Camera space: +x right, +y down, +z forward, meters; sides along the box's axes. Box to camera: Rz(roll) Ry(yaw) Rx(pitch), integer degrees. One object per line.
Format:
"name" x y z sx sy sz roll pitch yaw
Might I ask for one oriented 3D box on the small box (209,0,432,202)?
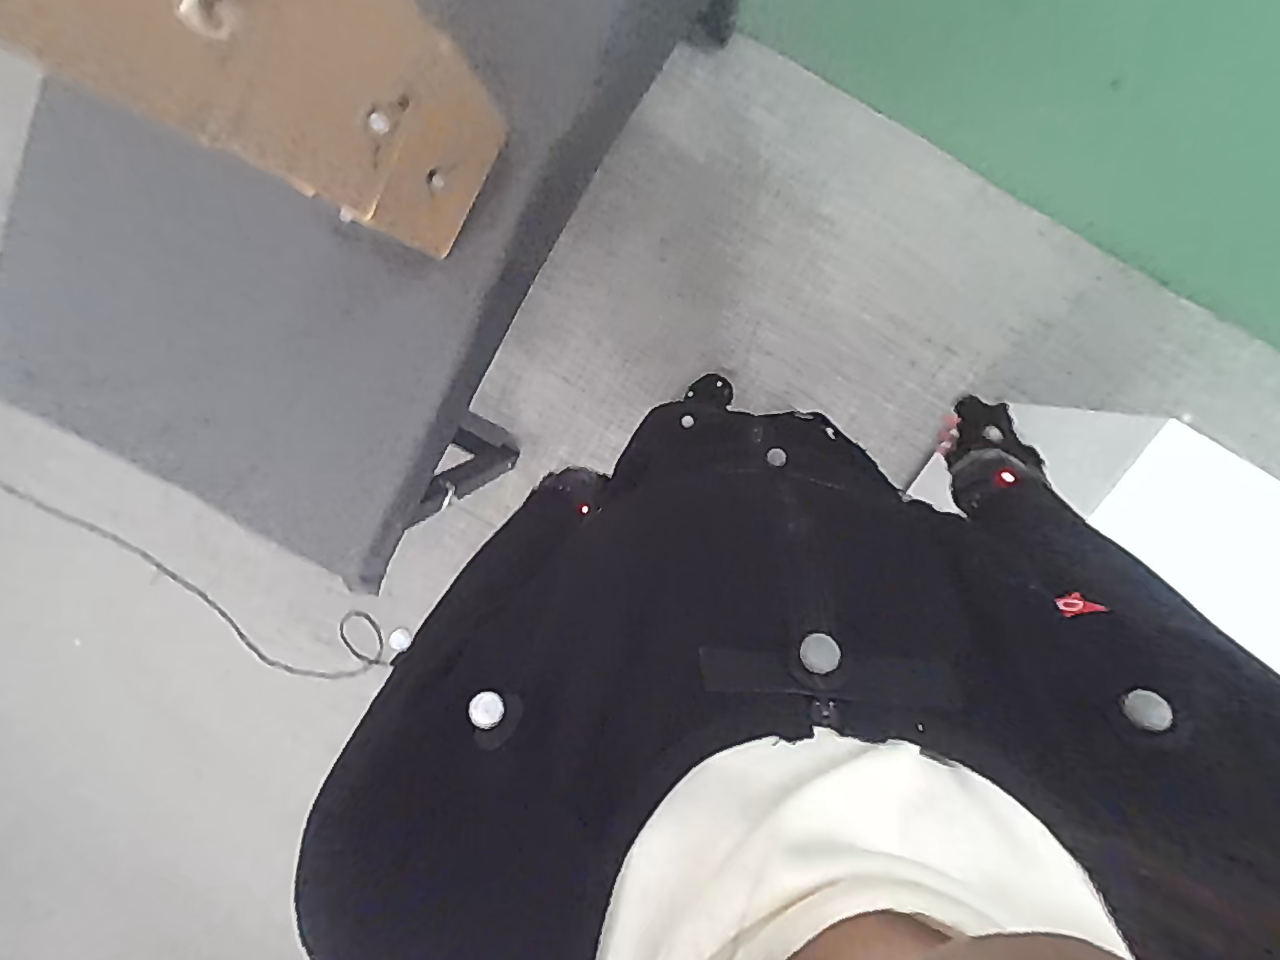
"small box" -0.299 -0.346 0.410 0.179 0.176 0.168 30 103 2

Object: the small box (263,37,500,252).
"small box" -0.275 -0.371 0.571 0.168 0.176 0.179 32 103 -1
